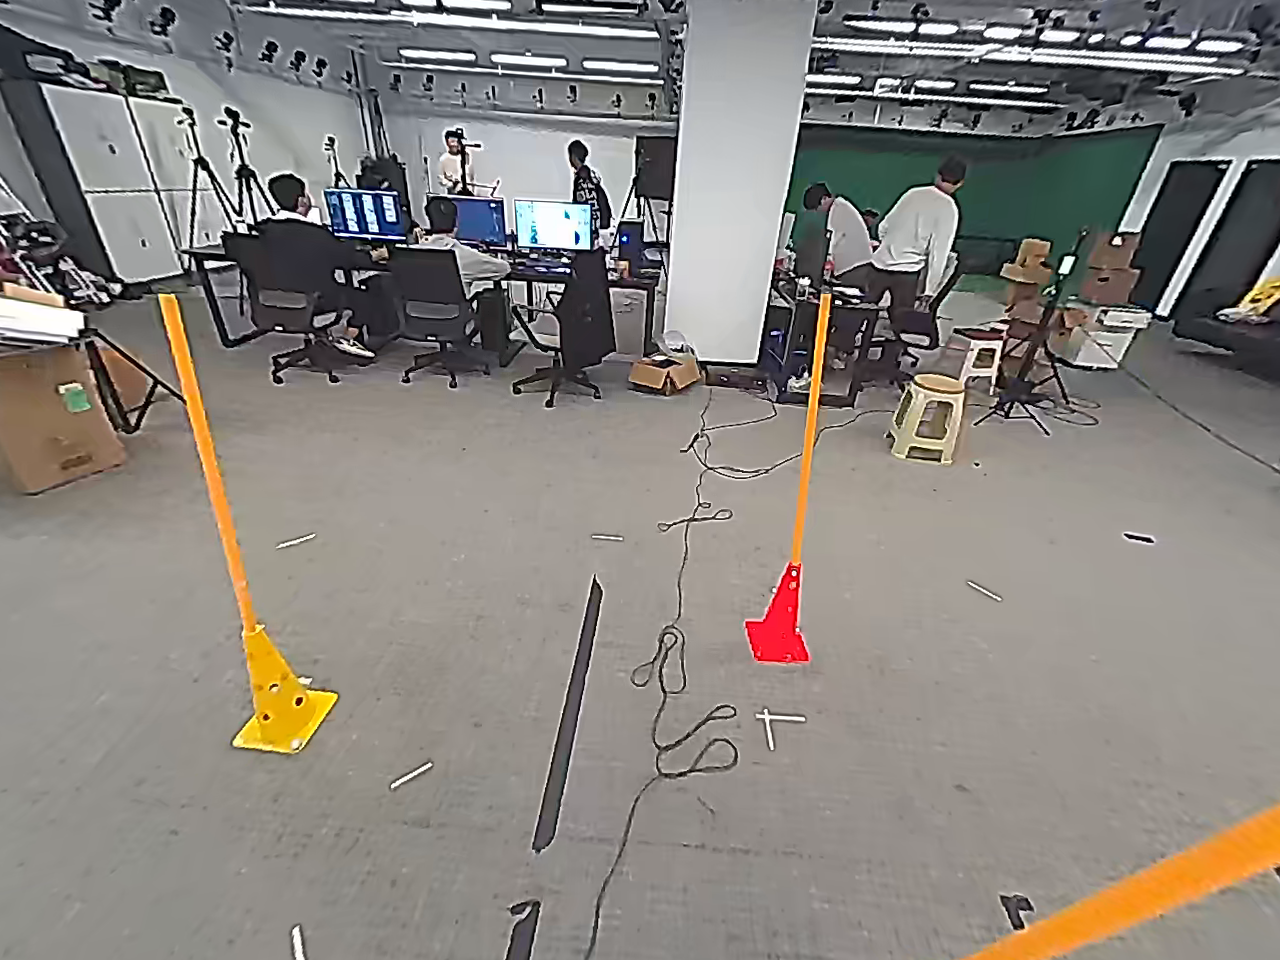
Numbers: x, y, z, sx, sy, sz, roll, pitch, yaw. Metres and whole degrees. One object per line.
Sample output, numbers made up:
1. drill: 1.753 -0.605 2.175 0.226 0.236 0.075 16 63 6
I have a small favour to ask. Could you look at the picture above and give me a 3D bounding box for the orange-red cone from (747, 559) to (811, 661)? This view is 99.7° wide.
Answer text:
1. orange-red cone: 0.501 0.423 1.851 0.199 0.360 0.198 1 29 -2
